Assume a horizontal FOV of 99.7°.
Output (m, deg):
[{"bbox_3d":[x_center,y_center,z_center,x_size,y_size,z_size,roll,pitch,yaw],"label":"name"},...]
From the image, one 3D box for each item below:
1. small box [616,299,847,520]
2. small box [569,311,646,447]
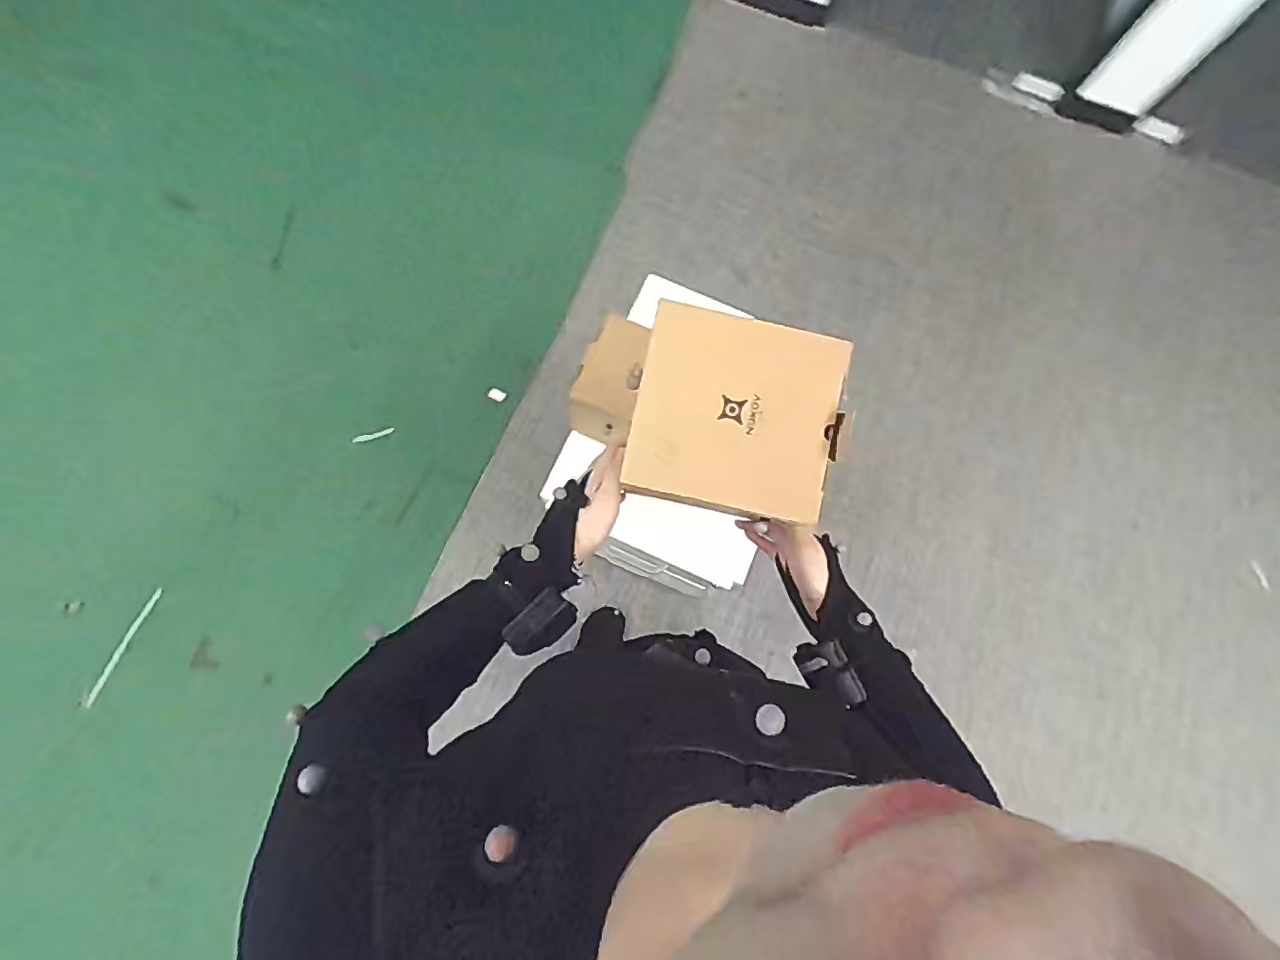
[{"bbox_3d":[0.076,-0.056,0.543,0.179,0.176,0.168,12,87,-3],"label":"small box"},{"bbox_3d":[-0.007,-0.153,0.936,0.179,0.176,0.168,24,76,2],"label":"small box"}]
